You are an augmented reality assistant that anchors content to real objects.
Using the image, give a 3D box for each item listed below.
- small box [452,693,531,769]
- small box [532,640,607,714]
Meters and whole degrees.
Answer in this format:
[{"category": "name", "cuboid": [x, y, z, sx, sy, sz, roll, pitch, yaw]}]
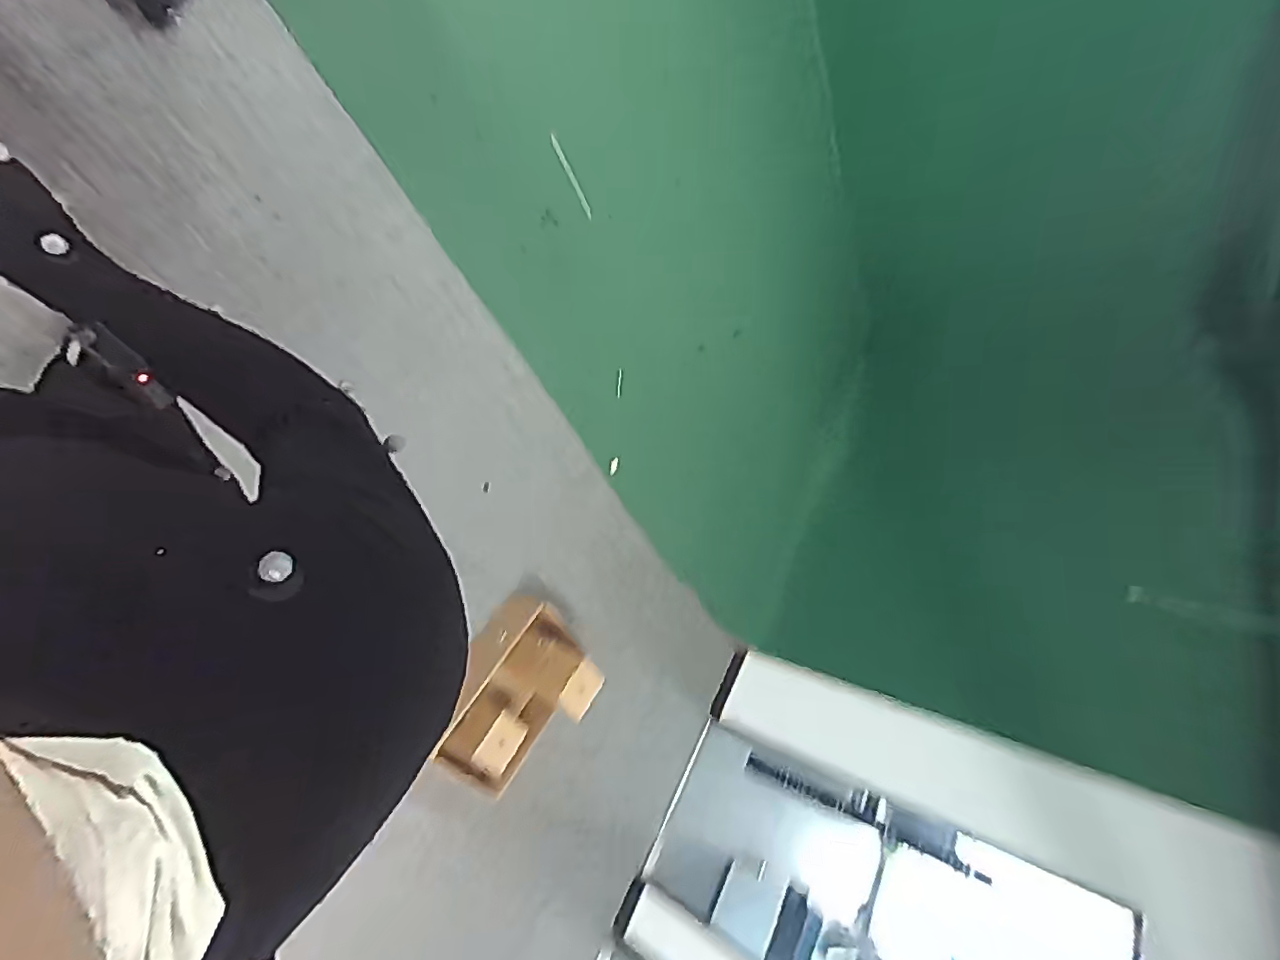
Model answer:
[{"category": "small box", "cuboid": [-0.532, 0.891, 1.935, 0.168, 0.176, 0.179, -55, 134, -29]}, {"category": "small box", "cuboid": [-0.258, 0.713, 1.972, 0.168, 0.176, 0.179, -53, 134, -28]}]
